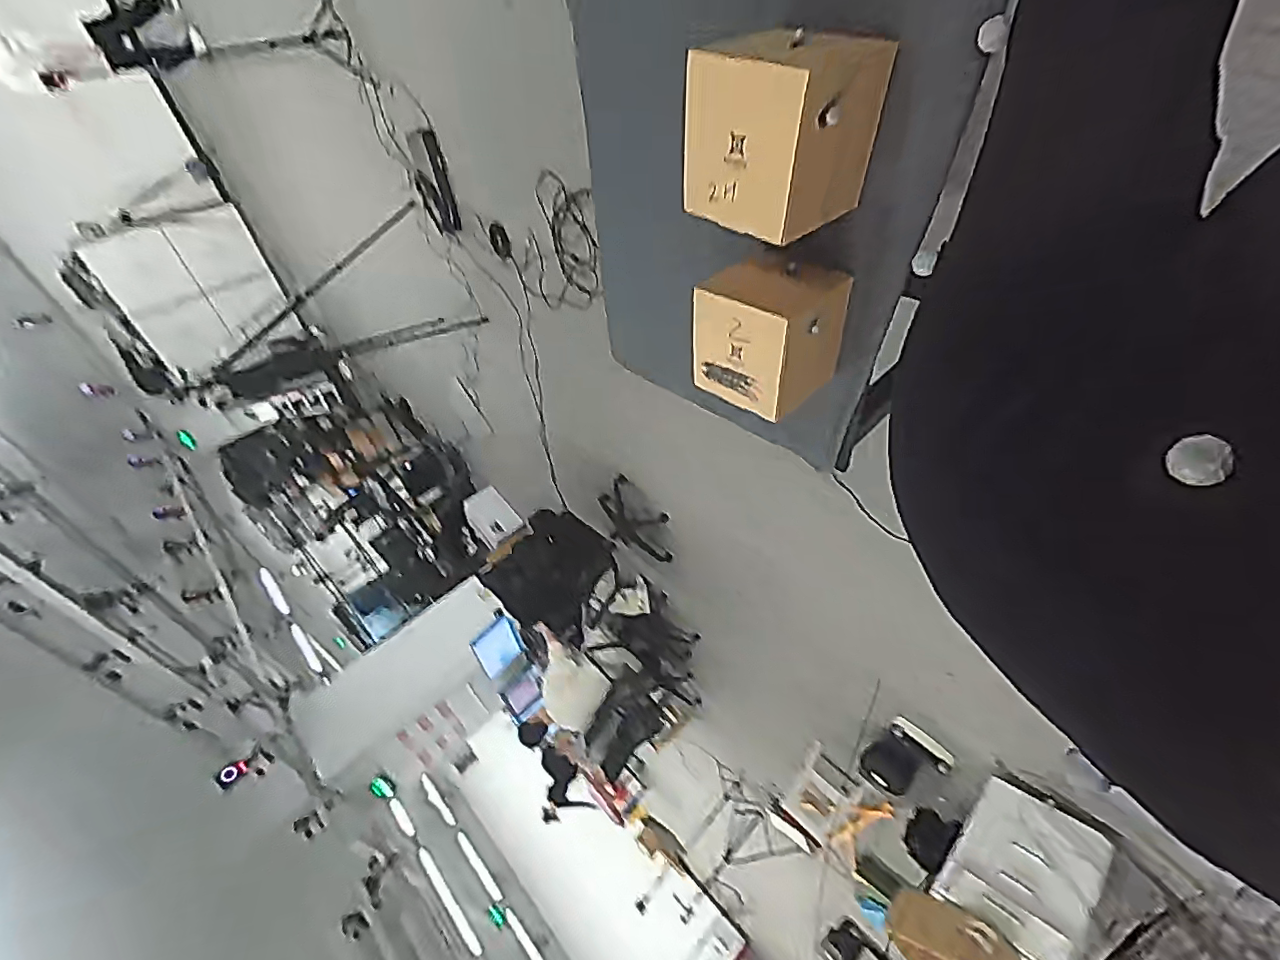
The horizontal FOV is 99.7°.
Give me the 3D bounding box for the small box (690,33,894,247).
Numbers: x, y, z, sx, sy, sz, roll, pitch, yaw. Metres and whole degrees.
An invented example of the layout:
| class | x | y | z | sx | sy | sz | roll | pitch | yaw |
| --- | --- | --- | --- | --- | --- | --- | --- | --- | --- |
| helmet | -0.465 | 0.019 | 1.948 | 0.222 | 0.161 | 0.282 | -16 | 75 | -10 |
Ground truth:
| class | x | y | z | sx | sy | sz | roll | pitch | yaw |
| --- | --- | --- | --- | --- | --- | --- | --- | --- | --- |
| small box | 0.181 | -0.423 | 0.665 | 0.168 | 0.176 | 0.179 | 38 | 150 | 31 |
